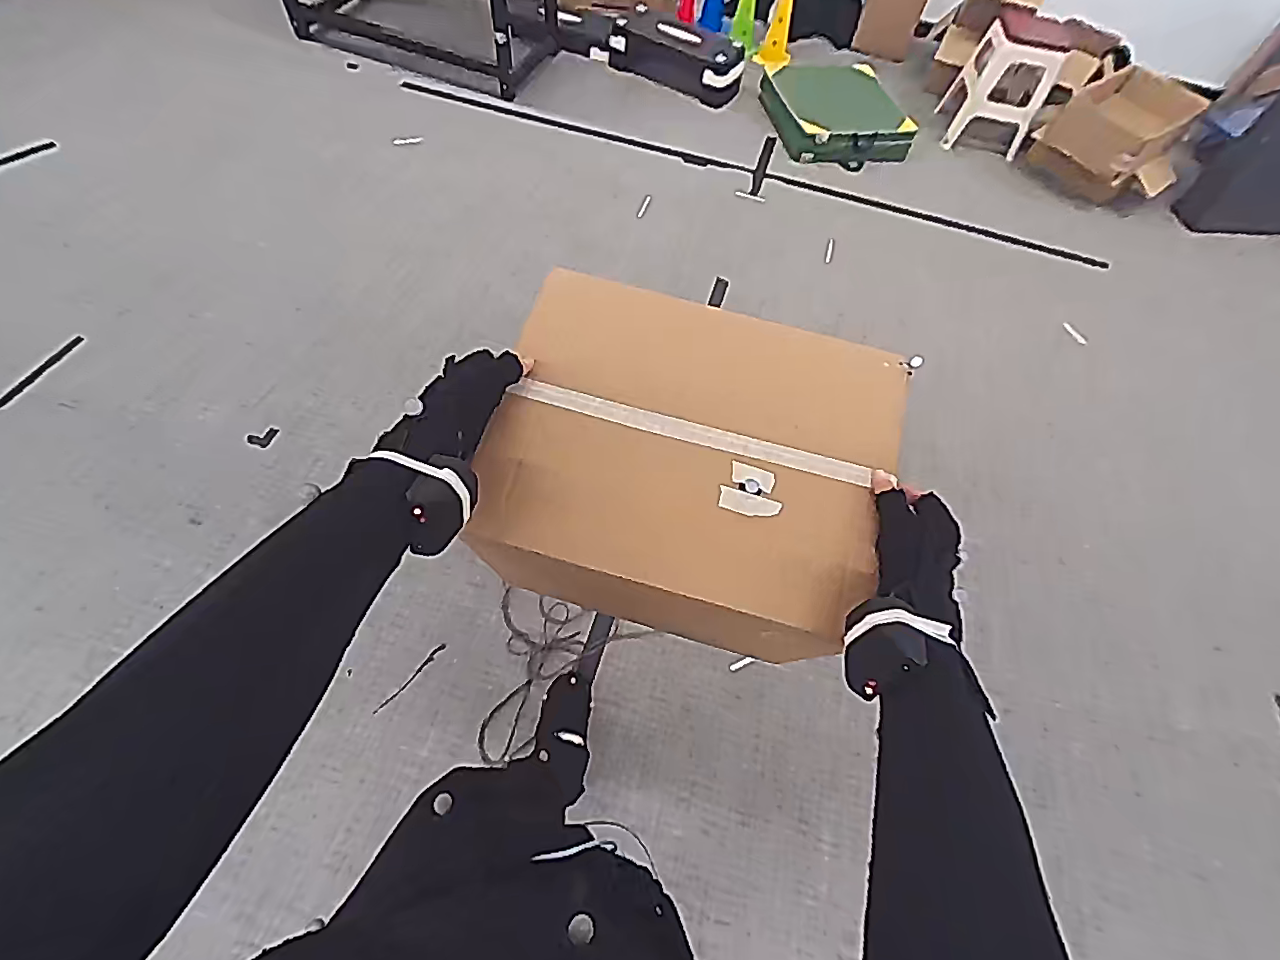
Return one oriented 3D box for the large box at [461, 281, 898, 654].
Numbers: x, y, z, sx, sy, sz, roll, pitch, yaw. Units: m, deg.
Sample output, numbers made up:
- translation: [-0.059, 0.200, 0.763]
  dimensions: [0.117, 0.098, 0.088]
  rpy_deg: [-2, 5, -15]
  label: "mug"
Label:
- translation: [0.048, 0.009, 0.694]
  dimensions: [0.408, 0.320, 0.320]
  rpy_deg: [16, 70, 3]
  label: "large box"
